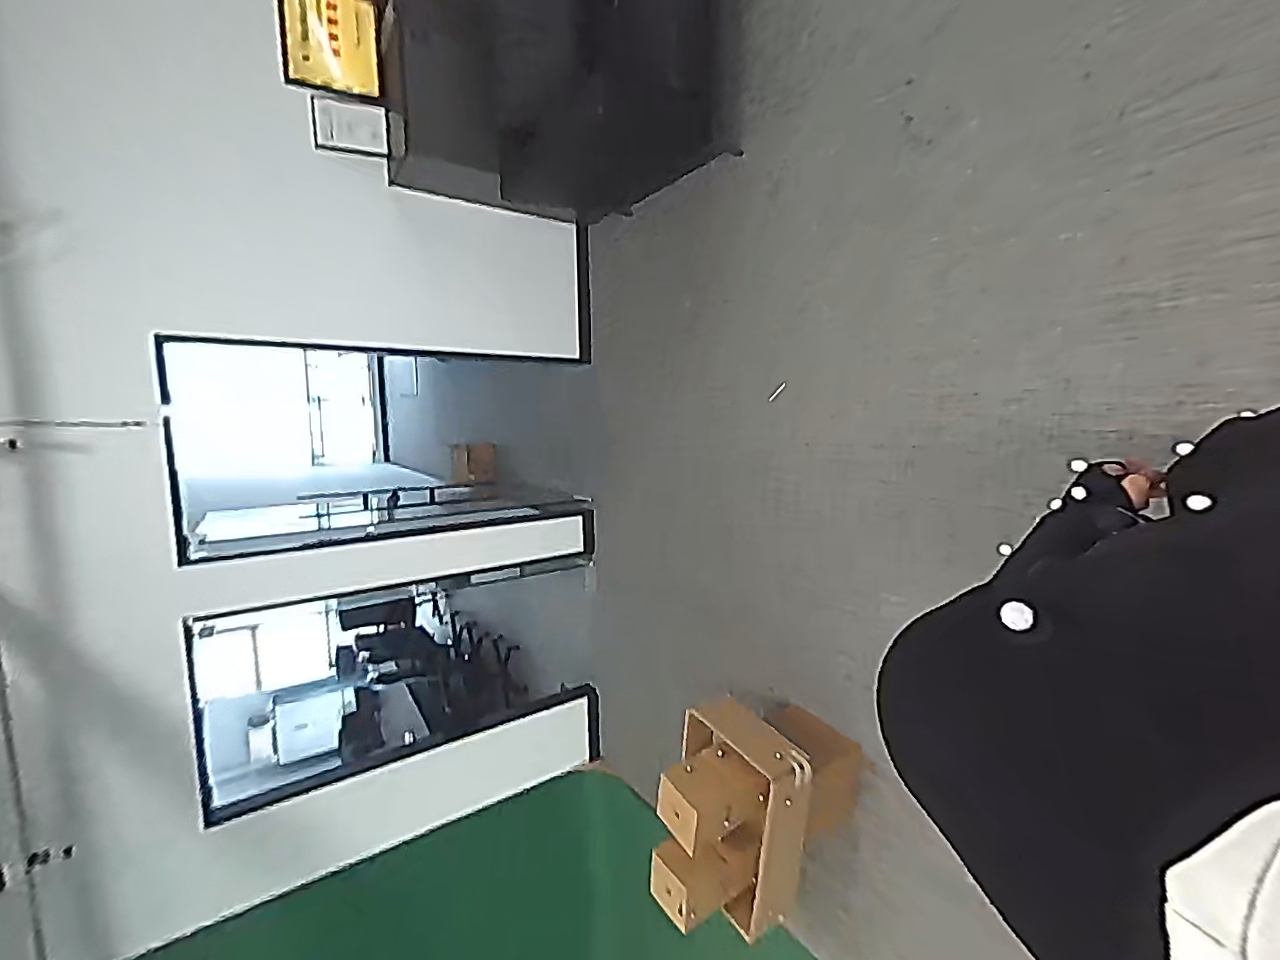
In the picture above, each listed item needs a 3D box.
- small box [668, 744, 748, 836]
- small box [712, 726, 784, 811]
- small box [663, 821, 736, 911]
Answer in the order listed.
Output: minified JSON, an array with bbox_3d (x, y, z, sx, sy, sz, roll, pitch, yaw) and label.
[{"bbox_3d":[0.214,0.972,1.719,0.179,0.176,0.168,27,117,52],"label":"small box"},{"bbox_3d":[0.349,0.954,1.808,0.179,0.176,0.168,28,118,51],"label":"small box"},{"bbox_3d":[0.194,1.254,1.790,0.179,0.176,0.168,18,110,55],"label":"small box"}]
